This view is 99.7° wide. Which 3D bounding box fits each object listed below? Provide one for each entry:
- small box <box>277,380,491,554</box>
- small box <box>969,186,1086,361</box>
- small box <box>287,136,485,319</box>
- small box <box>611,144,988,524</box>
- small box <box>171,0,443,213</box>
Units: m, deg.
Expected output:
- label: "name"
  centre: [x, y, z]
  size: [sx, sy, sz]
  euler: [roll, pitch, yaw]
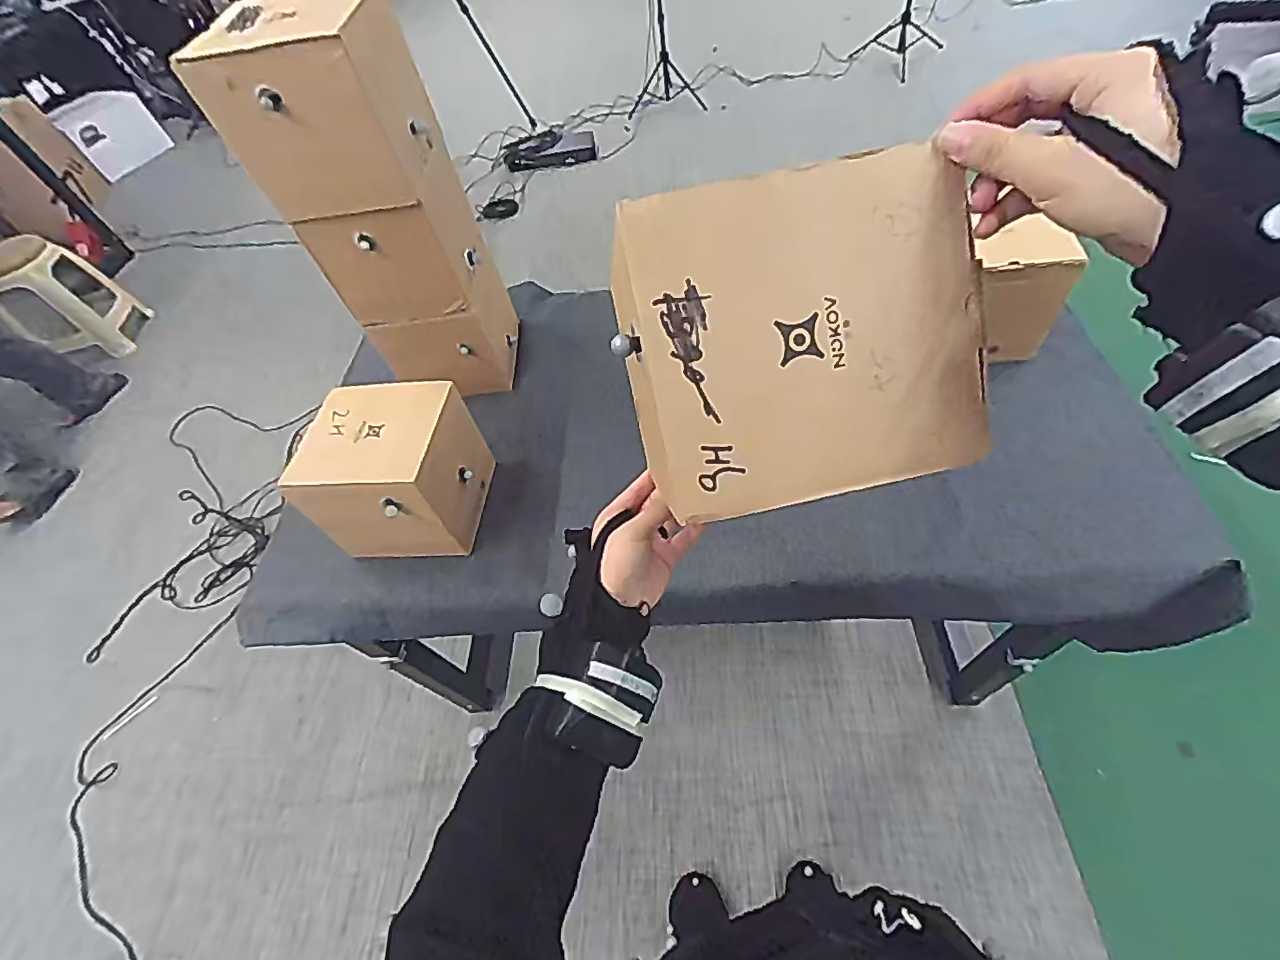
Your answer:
- label: "small box"
  centre: [-0.318, -0.012, 0.719]
  size: [0.179, 0.176, 0.168]
  euler: [-2, 53, 8]
- label: "small box"
  centre: [0.481, -0.292, 0.783]
  size: [0.168, 0.176, 0.179]
  euler: [-2, 57, 9]
- label: "small box"
  centre: [-0.338, -0.346, 0.760]
  size: [0.179, 0.176, 0.168]
  euler: [-6, 57, 4]
- label: "small box"
  centre: [0.082, -0.084, 0.352]
  size: [0.179, 0.176, 0.168]
  euler: [-12, 99, -3]
- label: "small box"
  centre: [-0.356, -0.429, 0.619]
  size: [0.179, 0.176, 0.168]
  euler: [-4, 57, 5]
